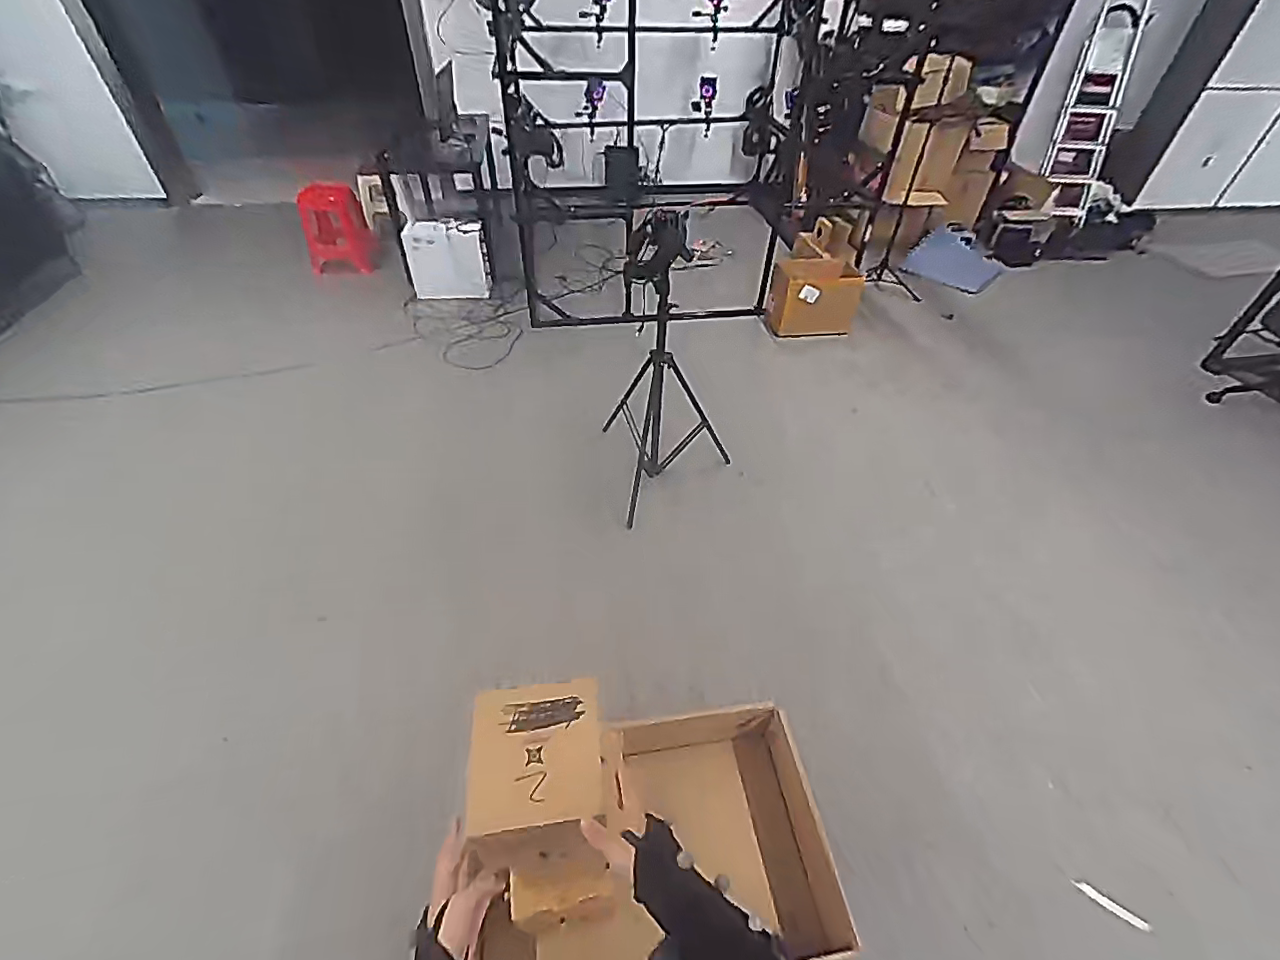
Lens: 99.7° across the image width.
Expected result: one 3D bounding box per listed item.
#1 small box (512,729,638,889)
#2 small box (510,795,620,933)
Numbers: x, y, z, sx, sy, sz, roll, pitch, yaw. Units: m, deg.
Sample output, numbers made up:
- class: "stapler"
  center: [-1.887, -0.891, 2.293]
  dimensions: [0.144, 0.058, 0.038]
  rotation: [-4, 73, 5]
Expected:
- class: "small box"
  center: [-0.102, 0.519, 0.853]
  dimensions: [0.179, 0.176, 0.168]
  rotation: [-5, 43, -7]
- class: "small box"
  center: [-0.132, 0.655, 0.947]
  dimensions: [0.168, 0.176, 0.179]
  rotation: [-9, 45, -10]
